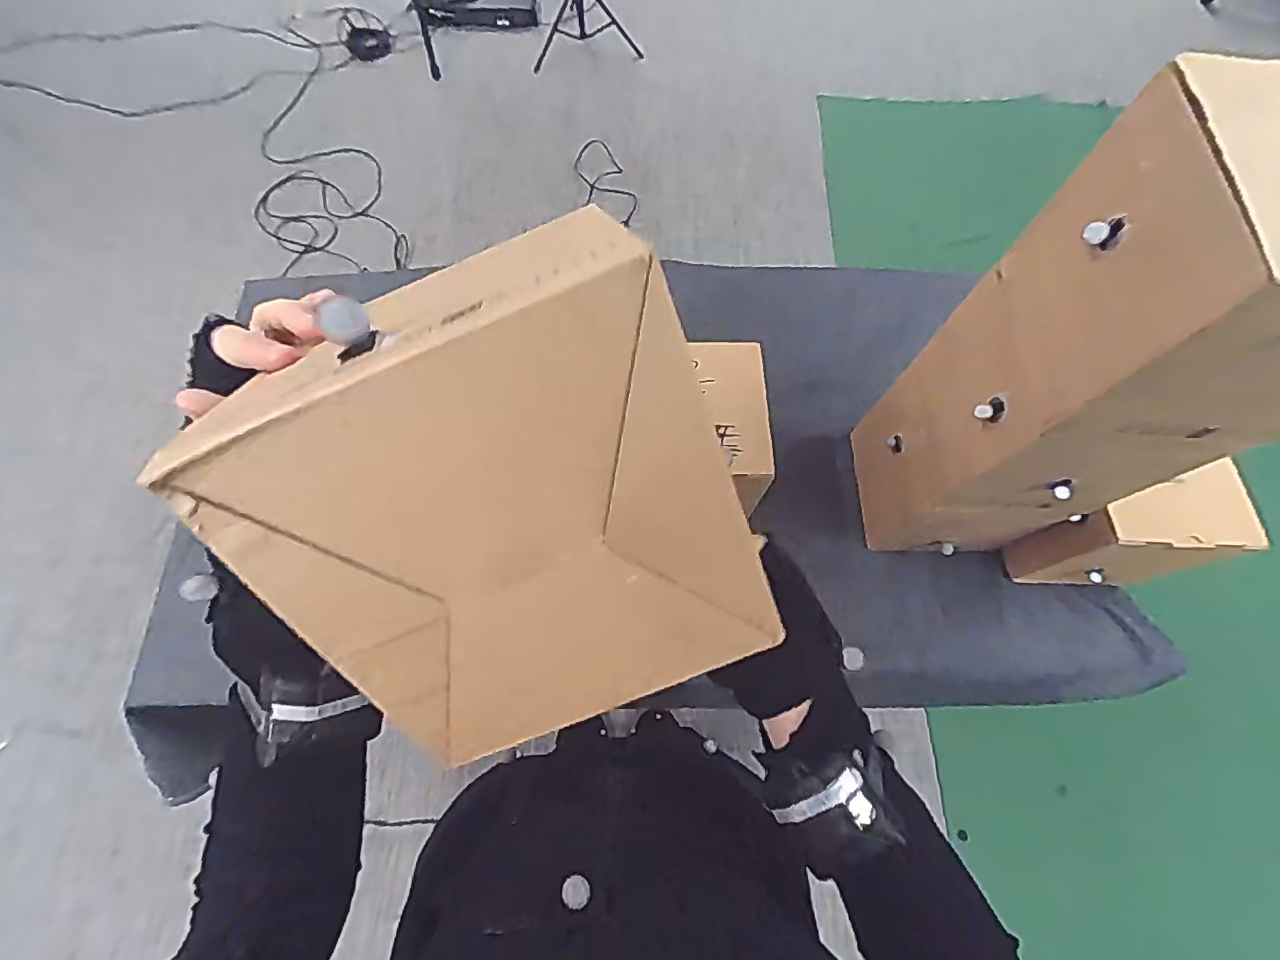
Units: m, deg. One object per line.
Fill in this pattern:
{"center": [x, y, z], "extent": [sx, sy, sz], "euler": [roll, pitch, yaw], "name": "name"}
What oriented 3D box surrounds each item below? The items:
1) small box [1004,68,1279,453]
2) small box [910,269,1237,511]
{"center": [0.392, -0.138, 0.374], "extent": [0.168, 0.176, 0.179], "euler": [4, 67, 1], "name": "small box"}
{"center": [0.391, -0.076, 0.527], "extent": [0.168, 0.176, 0.179], "euler": [2, 67, 0], "name": "small box"}
